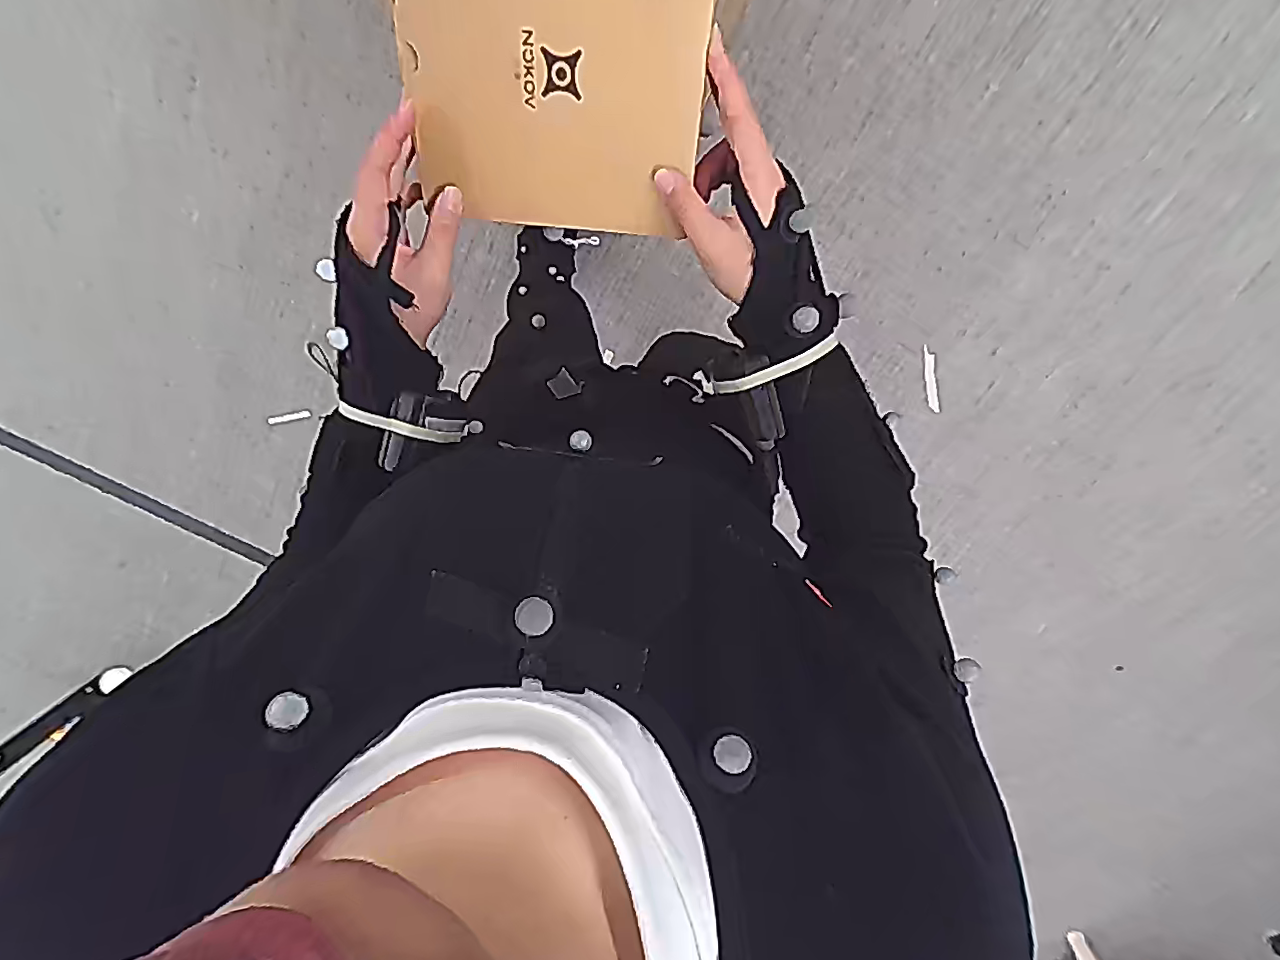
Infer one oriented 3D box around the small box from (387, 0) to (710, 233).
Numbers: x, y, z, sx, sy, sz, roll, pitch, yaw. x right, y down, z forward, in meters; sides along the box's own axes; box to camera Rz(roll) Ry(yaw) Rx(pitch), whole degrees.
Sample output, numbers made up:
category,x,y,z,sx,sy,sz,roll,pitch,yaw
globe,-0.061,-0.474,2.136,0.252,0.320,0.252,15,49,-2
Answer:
category,x,y,z,sx,sy,sz,roll,pitch,yaw
small box,-0.051,-0.285,0.371,0.179,0.176,0.168,6,127,-1
